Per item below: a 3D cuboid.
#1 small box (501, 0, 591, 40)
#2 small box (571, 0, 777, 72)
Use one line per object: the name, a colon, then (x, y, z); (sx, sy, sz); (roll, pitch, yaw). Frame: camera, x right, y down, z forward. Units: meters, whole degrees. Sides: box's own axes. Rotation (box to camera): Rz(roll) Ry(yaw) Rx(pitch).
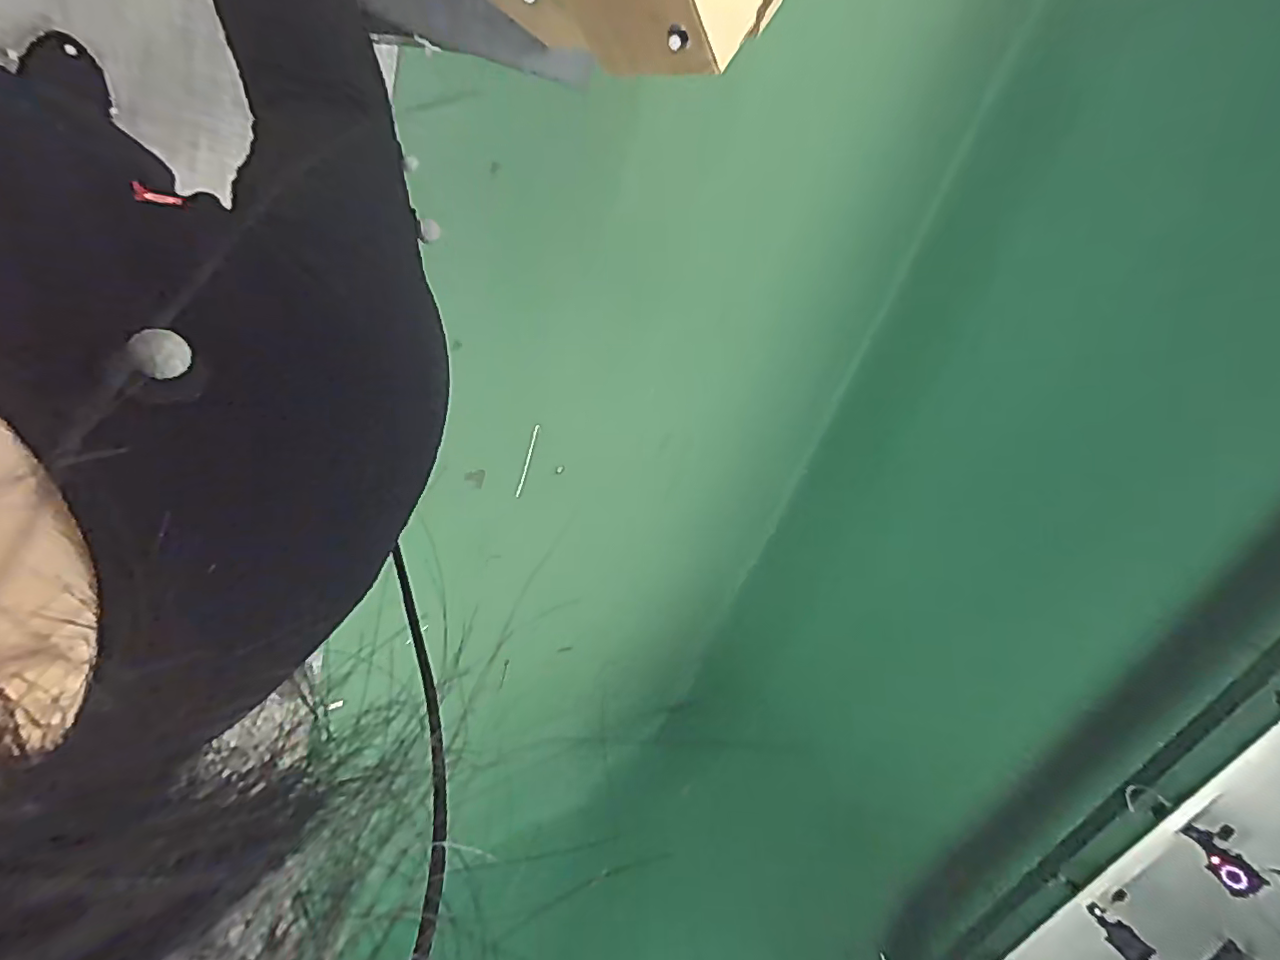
small box: (-0.081, -0.589, 0.555); (0.179, 0.176, 0.168); (1, 117, -49)
small box: (0.026, -0.498, 0.469); (0.168, 0.176, 0.179); (-56, 145, 0)
